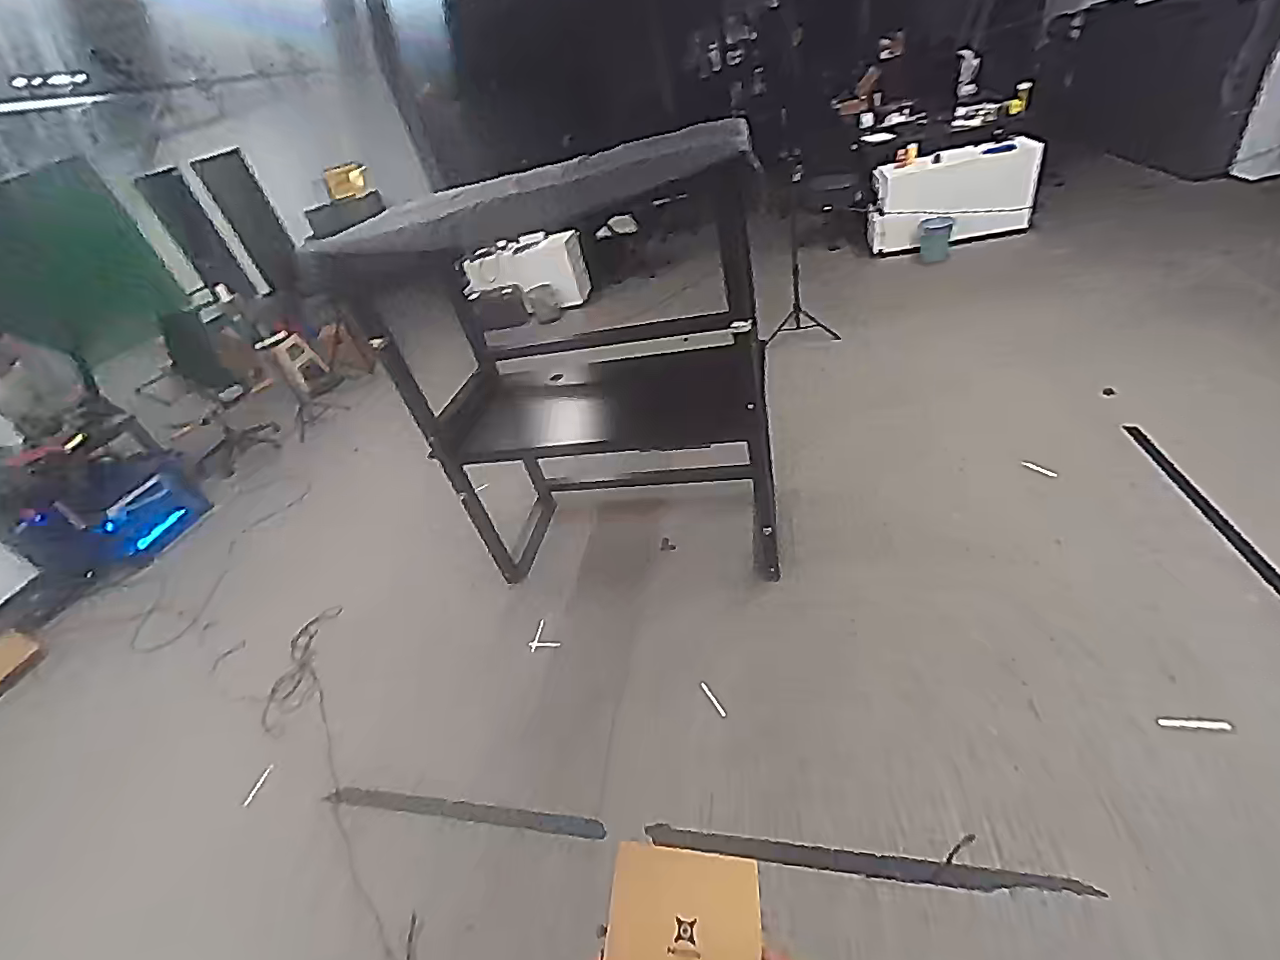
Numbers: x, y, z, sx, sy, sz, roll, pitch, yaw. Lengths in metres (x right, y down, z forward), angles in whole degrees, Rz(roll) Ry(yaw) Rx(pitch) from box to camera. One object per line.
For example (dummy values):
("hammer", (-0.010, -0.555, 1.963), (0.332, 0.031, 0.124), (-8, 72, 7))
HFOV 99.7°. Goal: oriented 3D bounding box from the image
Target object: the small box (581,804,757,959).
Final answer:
("small box", (0.028, 0.488, 0.579), (0.168, 0.176, 0.179), (5, 33, 4))
